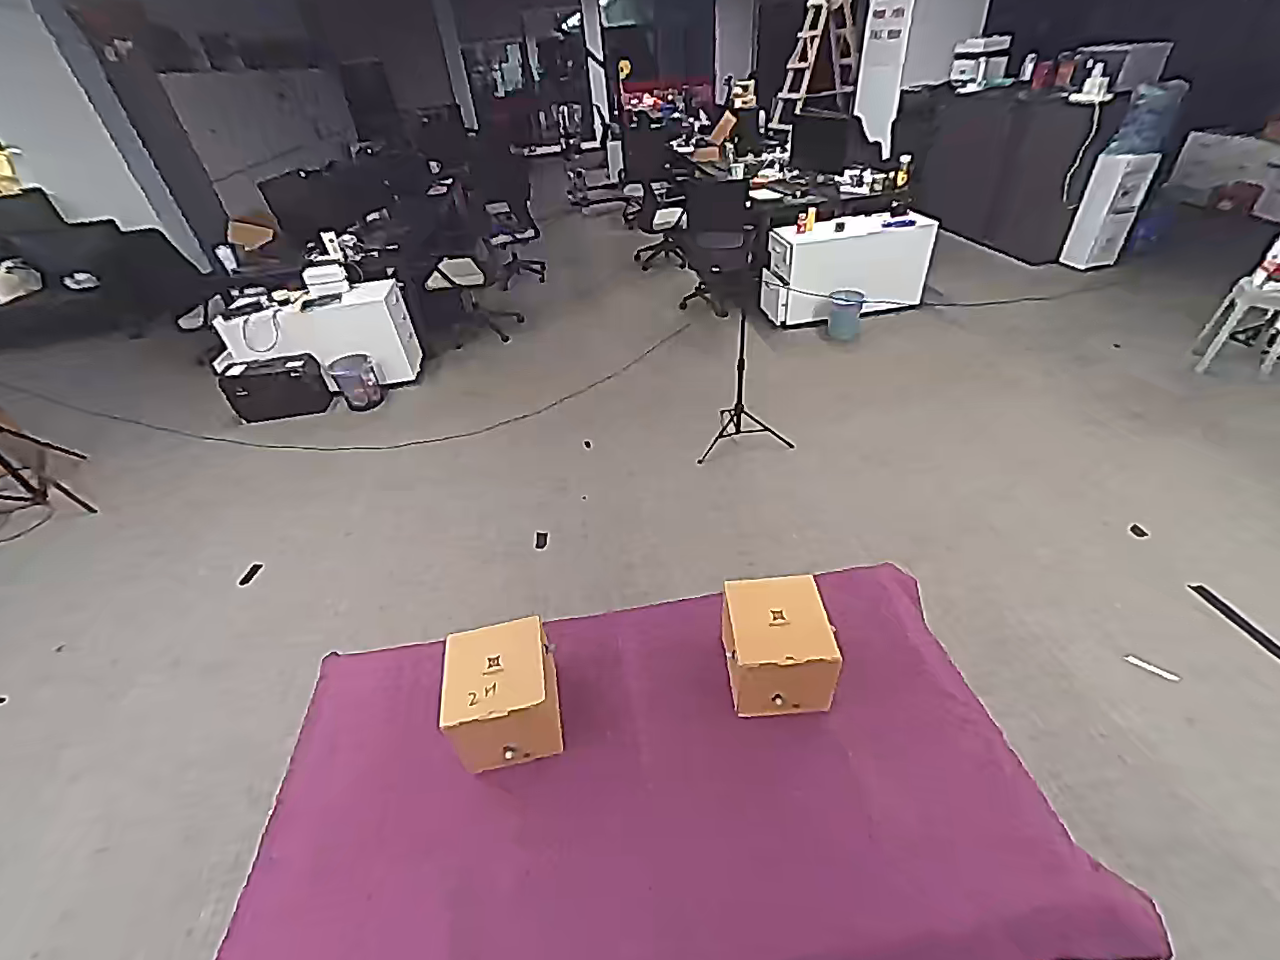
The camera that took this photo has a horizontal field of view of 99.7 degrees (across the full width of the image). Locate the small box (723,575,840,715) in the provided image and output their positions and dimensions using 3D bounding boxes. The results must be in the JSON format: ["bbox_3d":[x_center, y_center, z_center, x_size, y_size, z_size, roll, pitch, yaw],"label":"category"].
[{"bbox_3d":[0.244,0.298,0.979,0.168,0.176,0.179,-5,40,2],"label":"small box"}]

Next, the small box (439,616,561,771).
[{"bbox_3d":[-0.238,0.373,0.948,0.168,0.176,0.179,-11,39,-6],"label":"small box"}]
